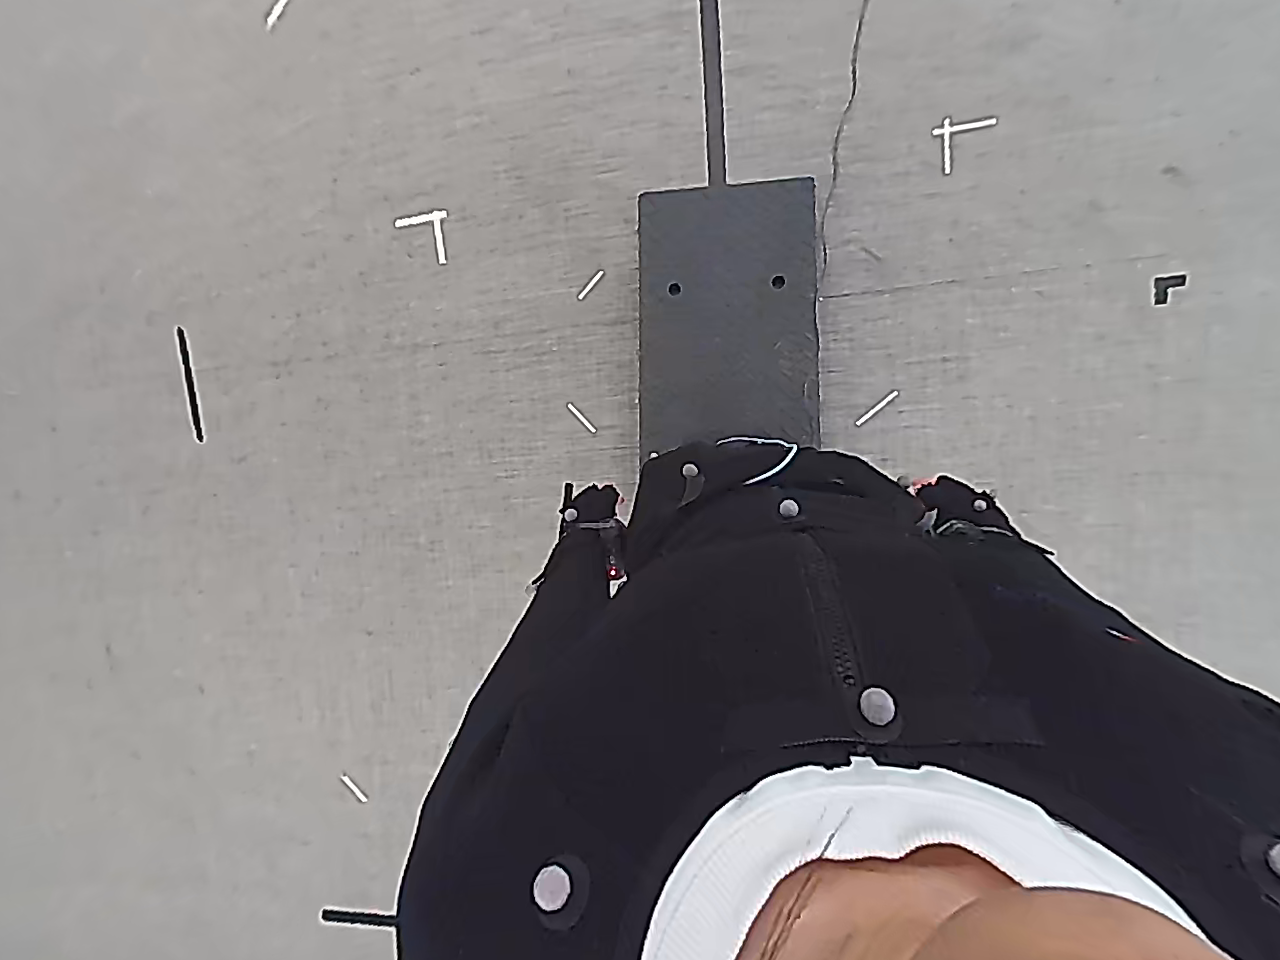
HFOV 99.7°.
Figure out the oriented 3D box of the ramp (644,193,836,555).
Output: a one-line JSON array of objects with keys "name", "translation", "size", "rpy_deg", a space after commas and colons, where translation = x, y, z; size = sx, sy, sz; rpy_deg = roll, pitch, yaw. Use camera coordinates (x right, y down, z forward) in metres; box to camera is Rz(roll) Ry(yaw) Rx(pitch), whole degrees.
[{"name": "ramp", "translation": [0.259, -0.297, 1.507], "size": [0.509, 0.206, 0.991], "rpy_deg": [-4, 94, 11]}]
